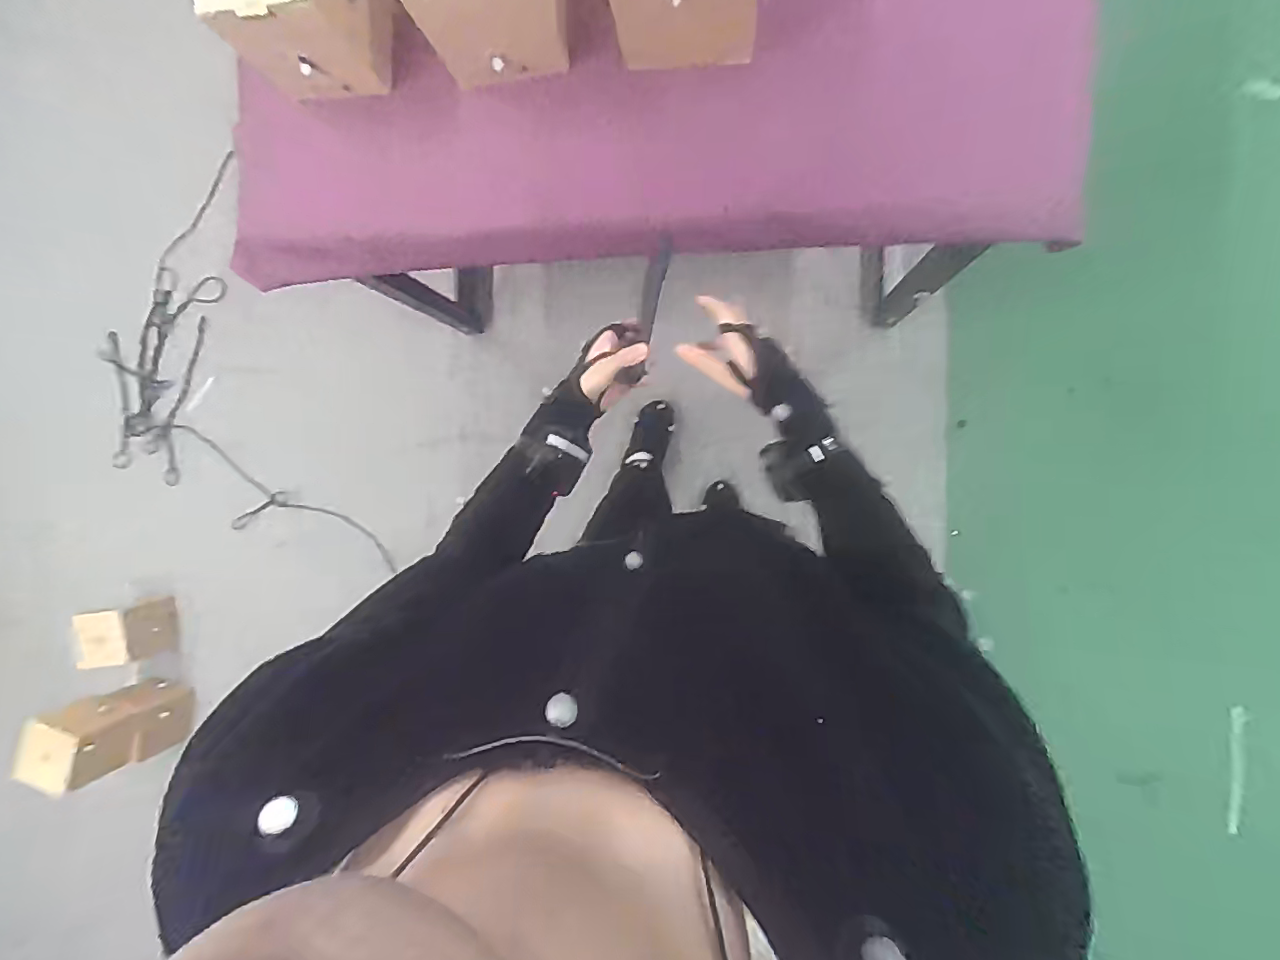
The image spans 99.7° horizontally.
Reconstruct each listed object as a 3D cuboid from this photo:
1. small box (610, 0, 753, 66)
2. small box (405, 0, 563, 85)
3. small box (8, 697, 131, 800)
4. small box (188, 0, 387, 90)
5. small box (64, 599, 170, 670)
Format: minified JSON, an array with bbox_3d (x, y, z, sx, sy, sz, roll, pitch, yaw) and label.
[{"bbox_3d":[0.053,-0.647,0.661,0.179,0.176,0.168,5,93,8],"label":"small box"},{"bbox_3d":[-0.204,-0.663,0.699,0.168,0.176,0.179,-3,92,9],"label":"small box"},{"bbox_3d":[-1.600,0.748,1.525,0.168,0.176,0.179,17,93,8],"label":"small box"},{"bbox_3d":[-0.469,-0.669,0.738,0.168,0.176,0.179,2,93,8],"label":"small box"},{"bbox_3d":[-1.609,0.474,1.678,0.179,0.176,0.168,-8,91,9],"label":"small box"}]
